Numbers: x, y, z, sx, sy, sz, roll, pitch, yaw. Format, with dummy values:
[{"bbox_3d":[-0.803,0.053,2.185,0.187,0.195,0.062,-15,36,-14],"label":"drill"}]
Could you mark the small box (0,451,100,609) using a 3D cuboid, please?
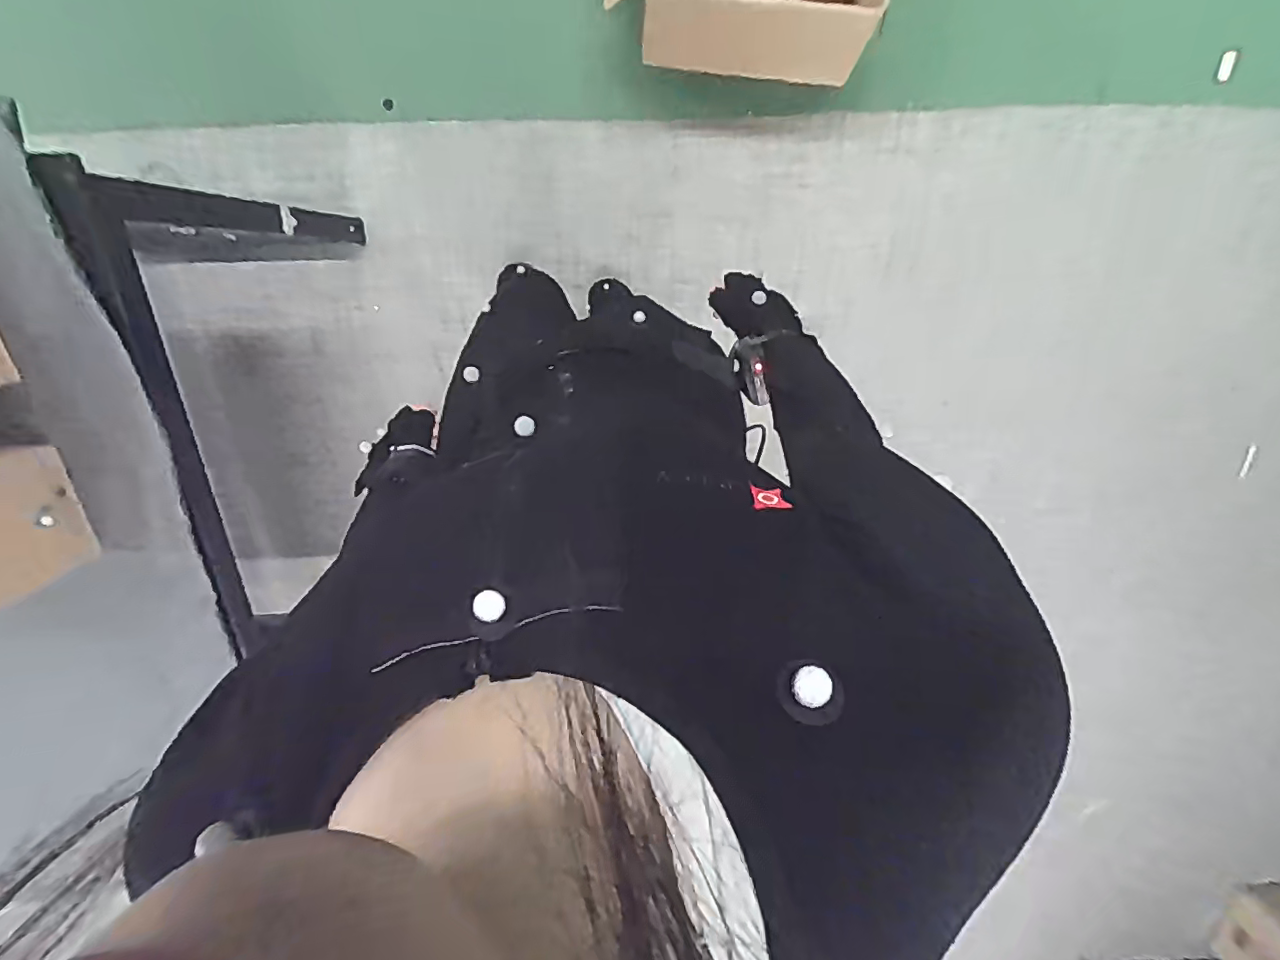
[{"bbox_3d":[-0.840,0.069,0.656,0.179,0.176,0.168,-2,112,0],"label":"small box"}]
